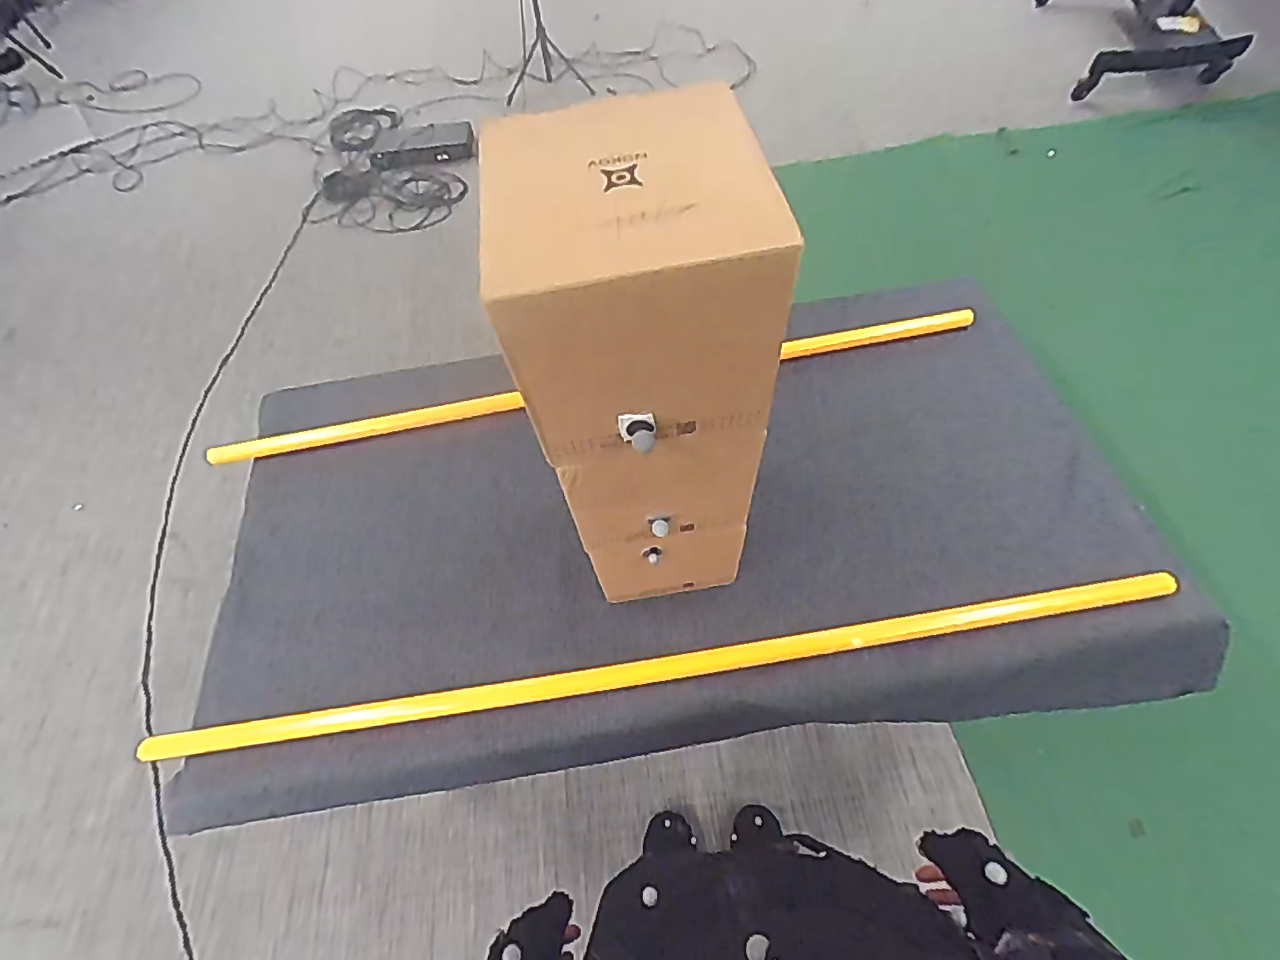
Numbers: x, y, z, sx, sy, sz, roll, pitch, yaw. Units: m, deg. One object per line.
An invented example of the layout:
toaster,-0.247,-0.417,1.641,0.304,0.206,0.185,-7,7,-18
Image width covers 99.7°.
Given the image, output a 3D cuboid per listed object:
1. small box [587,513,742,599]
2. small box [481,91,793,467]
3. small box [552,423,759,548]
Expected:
small box,0.021,0.027,0.671,0.168,0.176,0.179,-10,59,0
small box,-0.006,-0.134,0.389,0.168,0.176,0.179,-11,60,0
small box,0.006,-0.055,0.529,0.168,0.176,0.179,-10,60,-1
